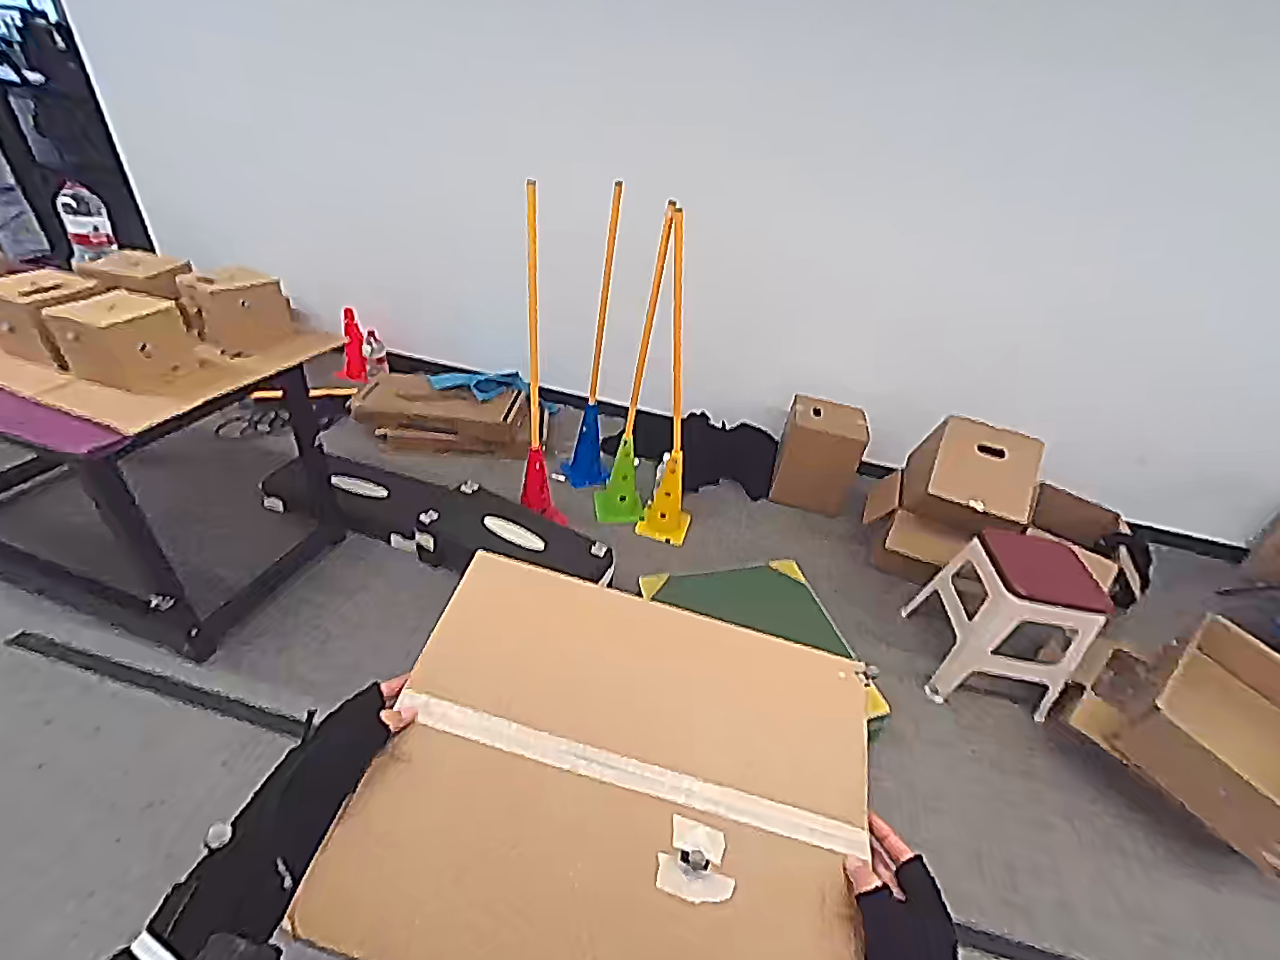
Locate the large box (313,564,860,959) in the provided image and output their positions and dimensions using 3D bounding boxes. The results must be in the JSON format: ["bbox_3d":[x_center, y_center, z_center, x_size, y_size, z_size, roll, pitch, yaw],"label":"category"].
[{"bbox_3d":[-0.029,0.340,0.579,0.408,0.320,0.320,15,51,3],"label":"large box"}]
